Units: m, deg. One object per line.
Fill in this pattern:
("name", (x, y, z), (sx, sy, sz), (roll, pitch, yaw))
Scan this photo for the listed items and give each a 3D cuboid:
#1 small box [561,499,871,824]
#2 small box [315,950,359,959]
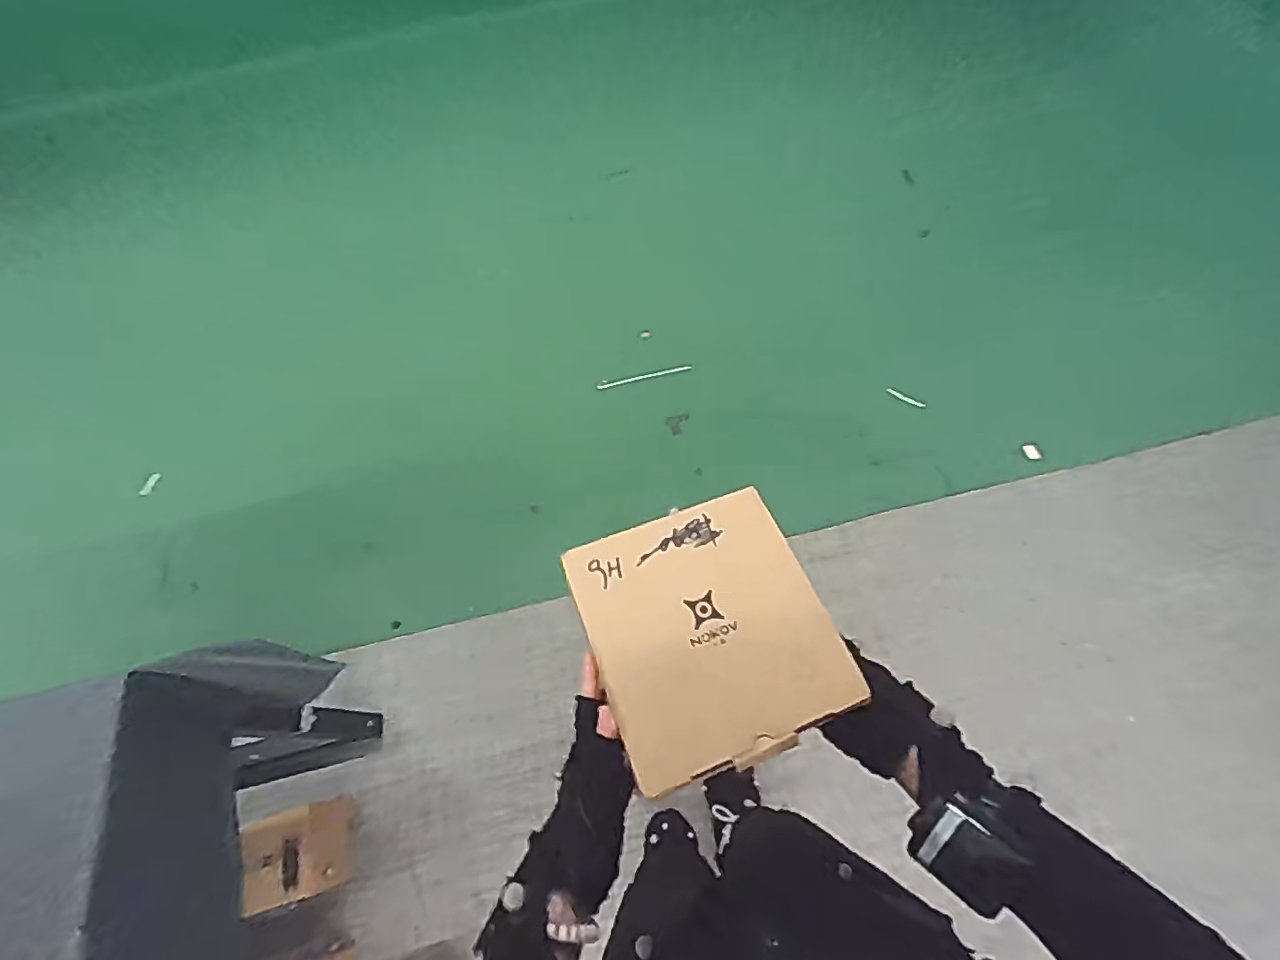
("small box", (0.047, 0.147, 0.446), (0.168, 0.176, 0.179), (-19, 64, -11))
("small box", (-0.664, 1.062, 1.053), (0.168, 0.176, 0.179), (-16, 65, -3))
